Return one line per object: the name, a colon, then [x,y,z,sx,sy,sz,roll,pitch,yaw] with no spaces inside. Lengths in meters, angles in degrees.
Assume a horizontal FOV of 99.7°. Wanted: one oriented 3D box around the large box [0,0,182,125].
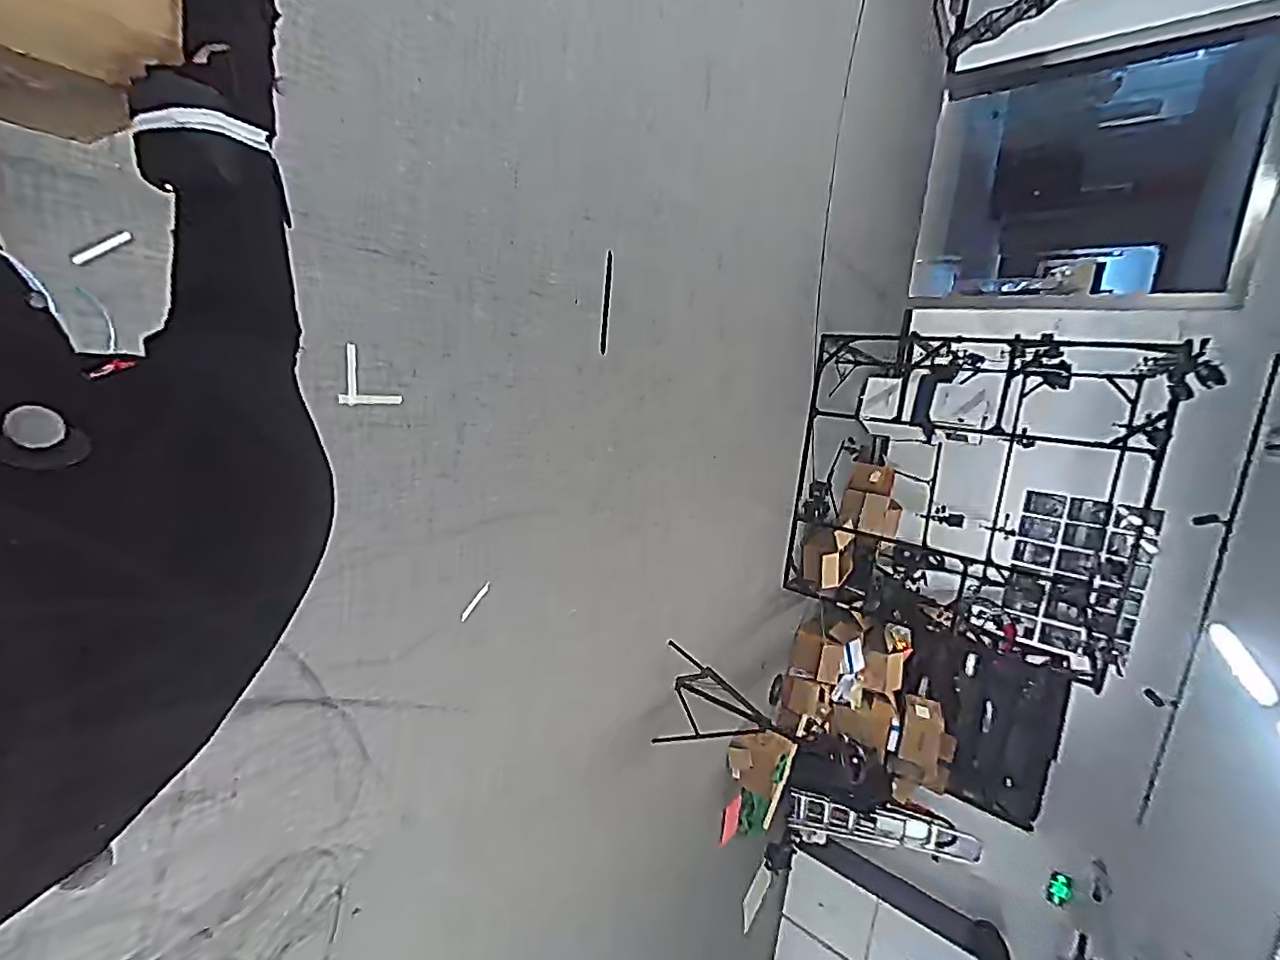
large box: [-0.547,-0.446,0.282,0.408,0.320,0.320,-9,114,-54]
